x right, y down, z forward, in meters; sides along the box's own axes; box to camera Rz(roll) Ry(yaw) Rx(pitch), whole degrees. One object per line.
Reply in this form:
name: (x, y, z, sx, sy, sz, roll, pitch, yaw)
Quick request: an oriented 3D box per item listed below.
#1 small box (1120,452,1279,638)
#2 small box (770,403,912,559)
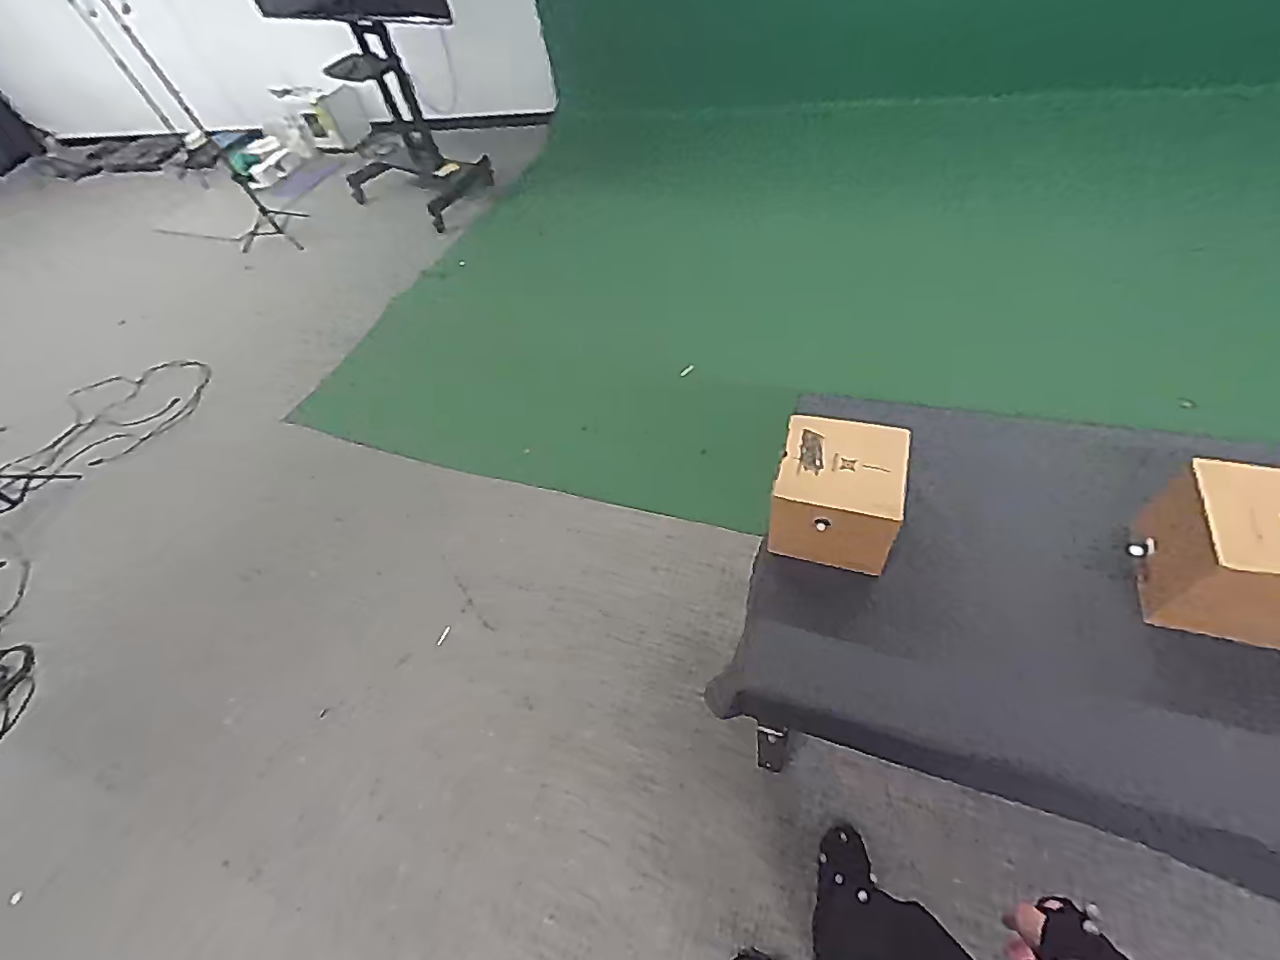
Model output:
small box: (0.783, 0.088, 0.704, 0.179, 0.176, 0.168, 10, 57, 19)
small box: (0.307, 0.005, 0.848, 0.179, 0.176, 0.168, 12, 59, 17)
